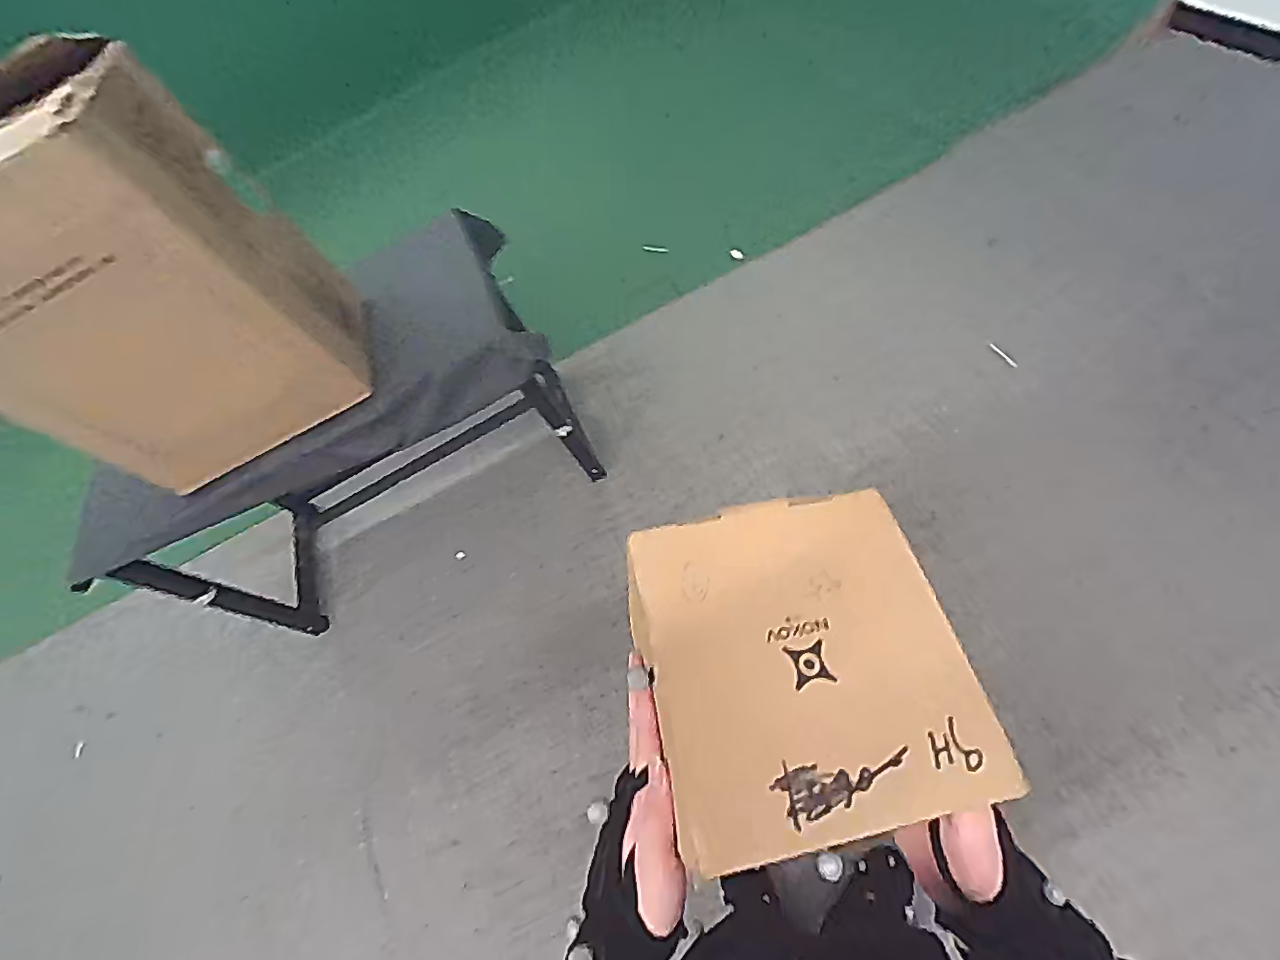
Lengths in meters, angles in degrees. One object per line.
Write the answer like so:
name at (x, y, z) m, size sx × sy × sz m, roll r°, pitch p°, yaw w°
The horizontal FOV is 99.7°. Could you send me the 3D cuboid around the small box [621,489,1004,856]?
small box at (0.083, 0.133, 0.368) m, size 0.168 × 0.176 × 0.179 m, roll -11°, pitch 58°, yaw -6°
